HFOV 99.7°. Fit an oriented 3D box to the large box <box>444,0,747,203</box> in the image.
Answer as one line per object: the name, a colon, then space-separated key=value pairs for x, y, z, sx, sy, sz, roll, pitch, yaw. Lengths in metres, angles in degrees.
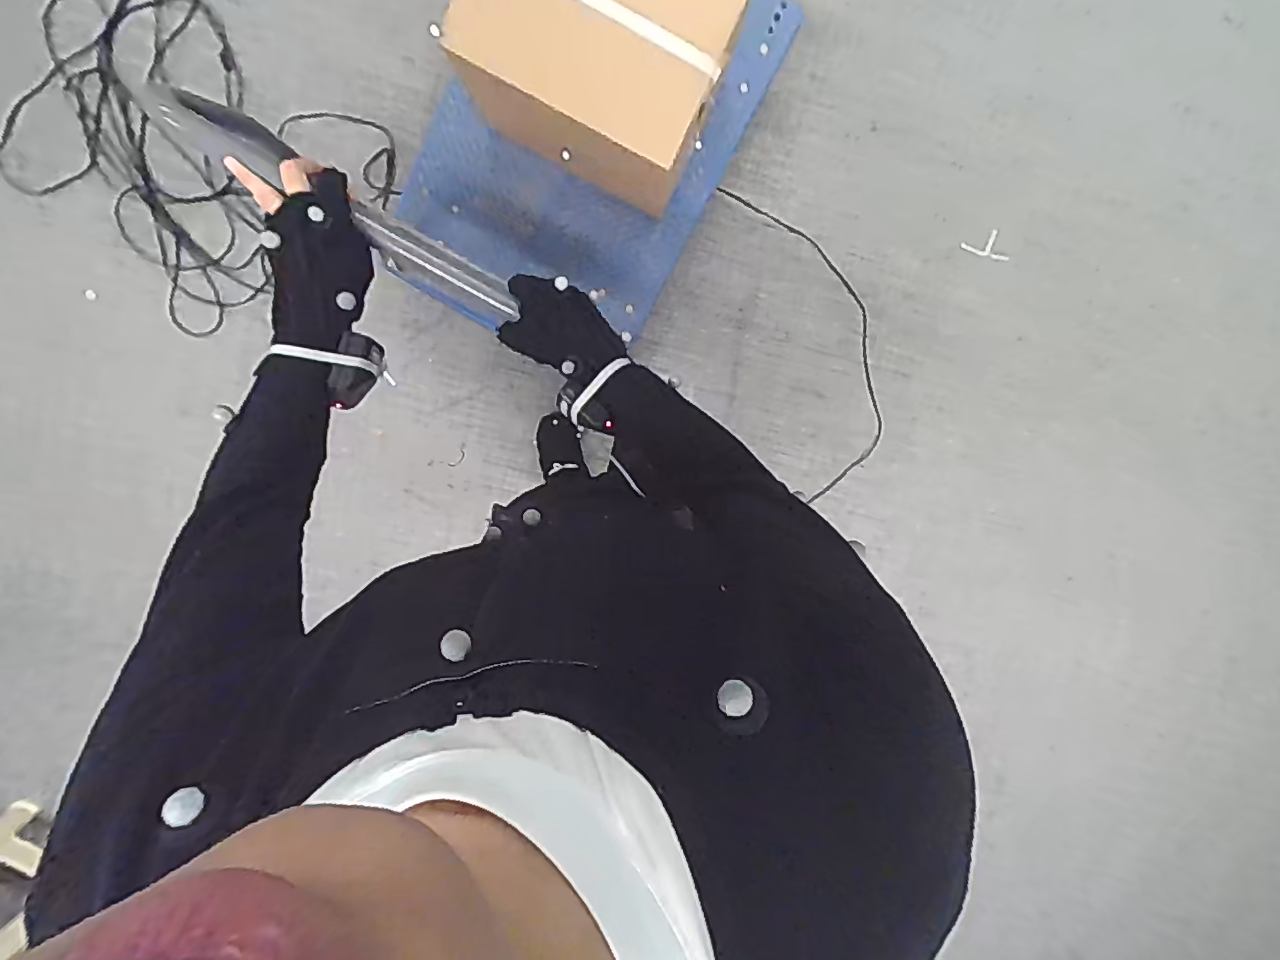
large box: x=-0.060 y=-0.770 z=0.968 sx=0.408 sy=0.320 sz=0.320 roll=26 pitch=100 yaw=-5
